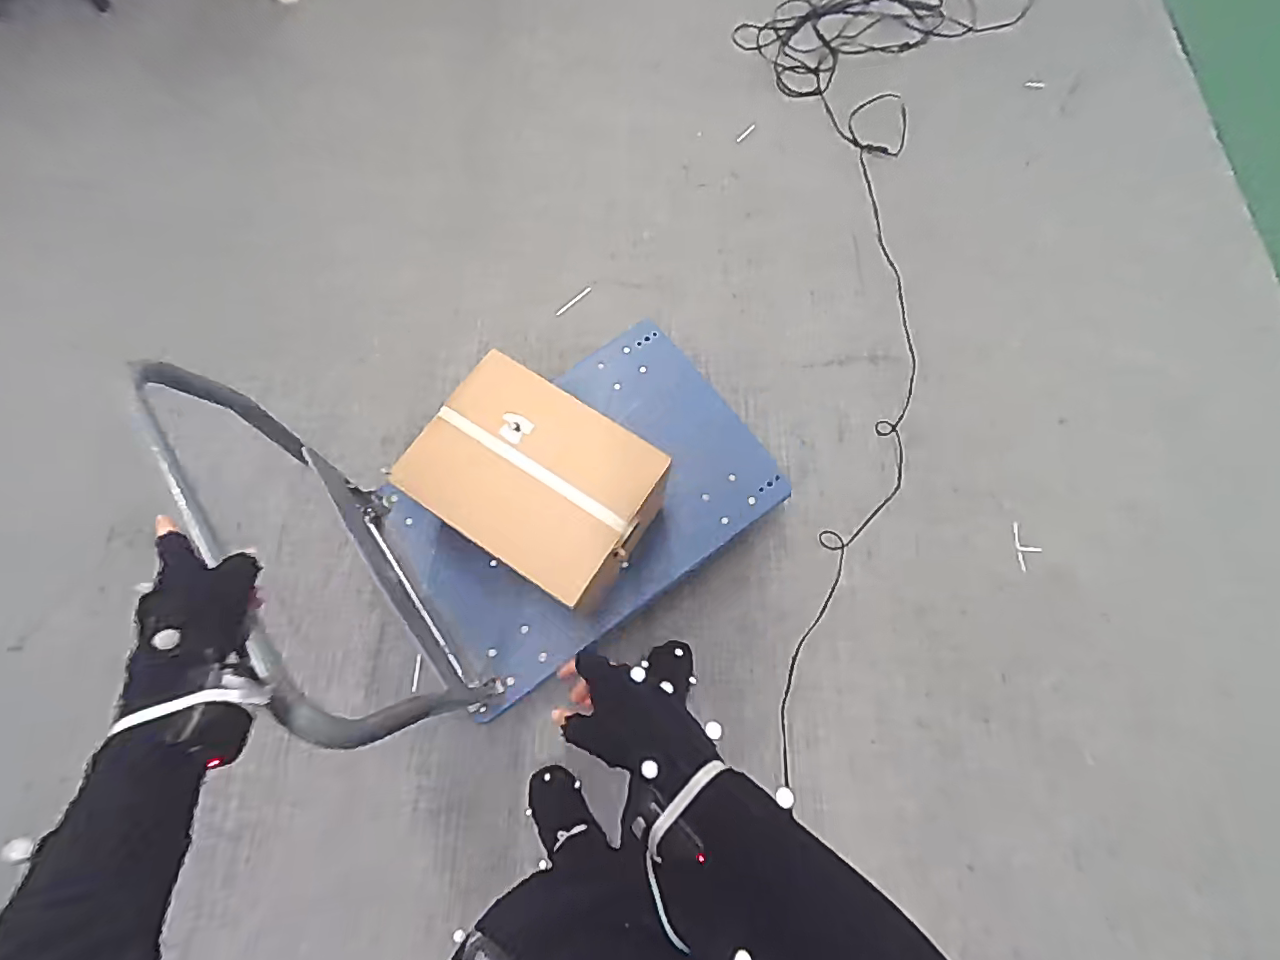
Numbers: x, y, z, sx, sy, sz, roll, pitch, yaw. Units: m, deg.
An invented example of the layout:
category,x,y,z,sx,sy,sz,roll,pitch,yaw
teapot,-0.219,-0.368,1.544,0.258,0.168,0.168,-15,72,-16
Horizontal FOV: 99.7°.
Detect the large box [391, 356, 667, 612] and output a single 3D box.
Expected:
category,x,y,z,sx,sy,sz,roll,pitch,yaw
large box,-0.194,0.027,1.104,0.408,0.320,0.320,32,74,10
